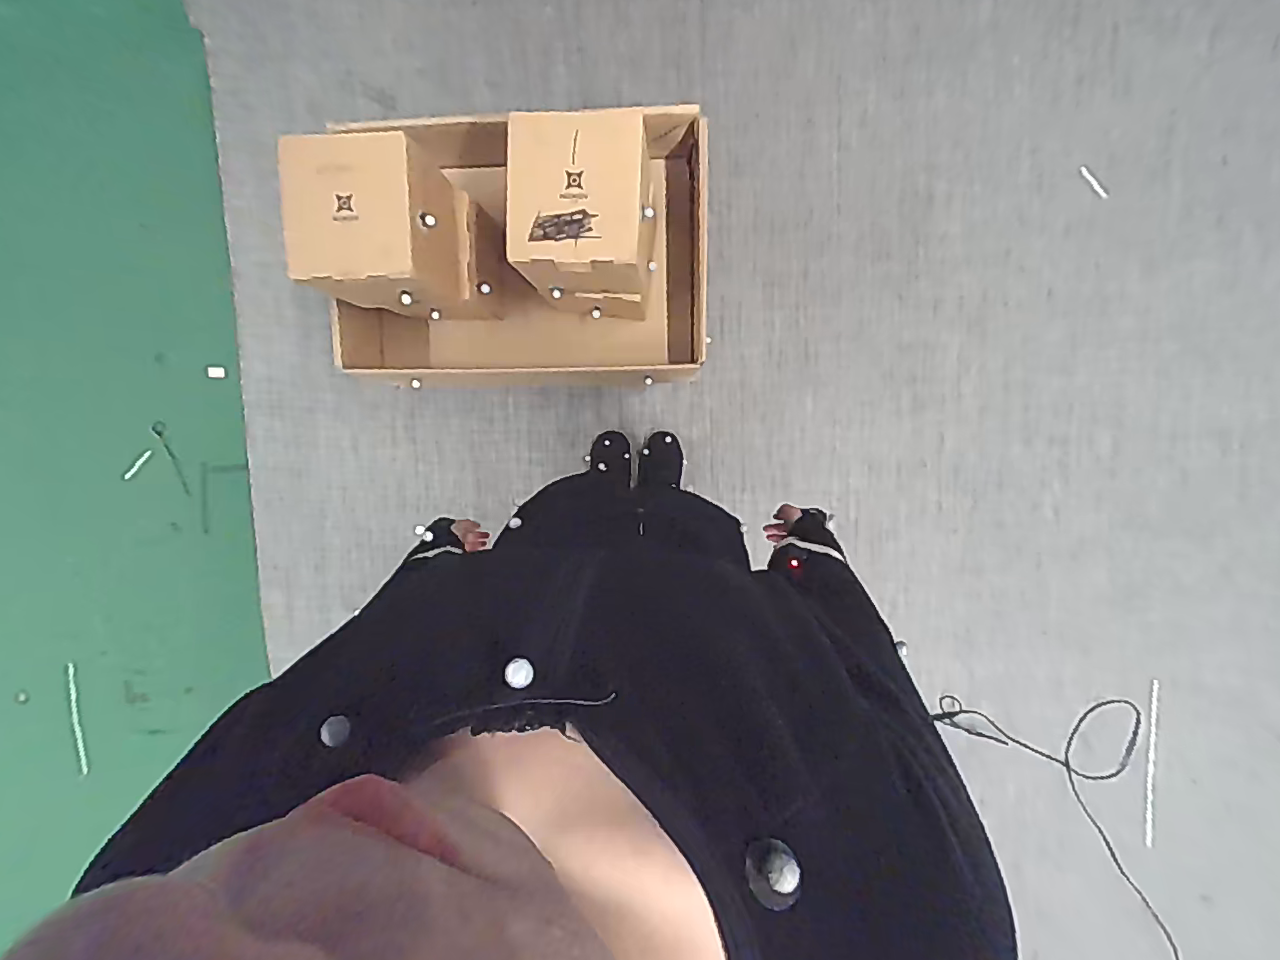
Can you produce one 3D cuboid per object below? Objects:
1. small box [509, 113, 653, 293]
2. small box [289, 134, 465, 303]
[{"bbox_3d":[-0.071,-0.365,0.742,0.168,0.176,0.179,3,95,4],"label":"small box"},{"bbox_3d":[-0.358,-0.354,0.766,0.168,0.176,0.179,1,95,4],"label":"small box"}]
